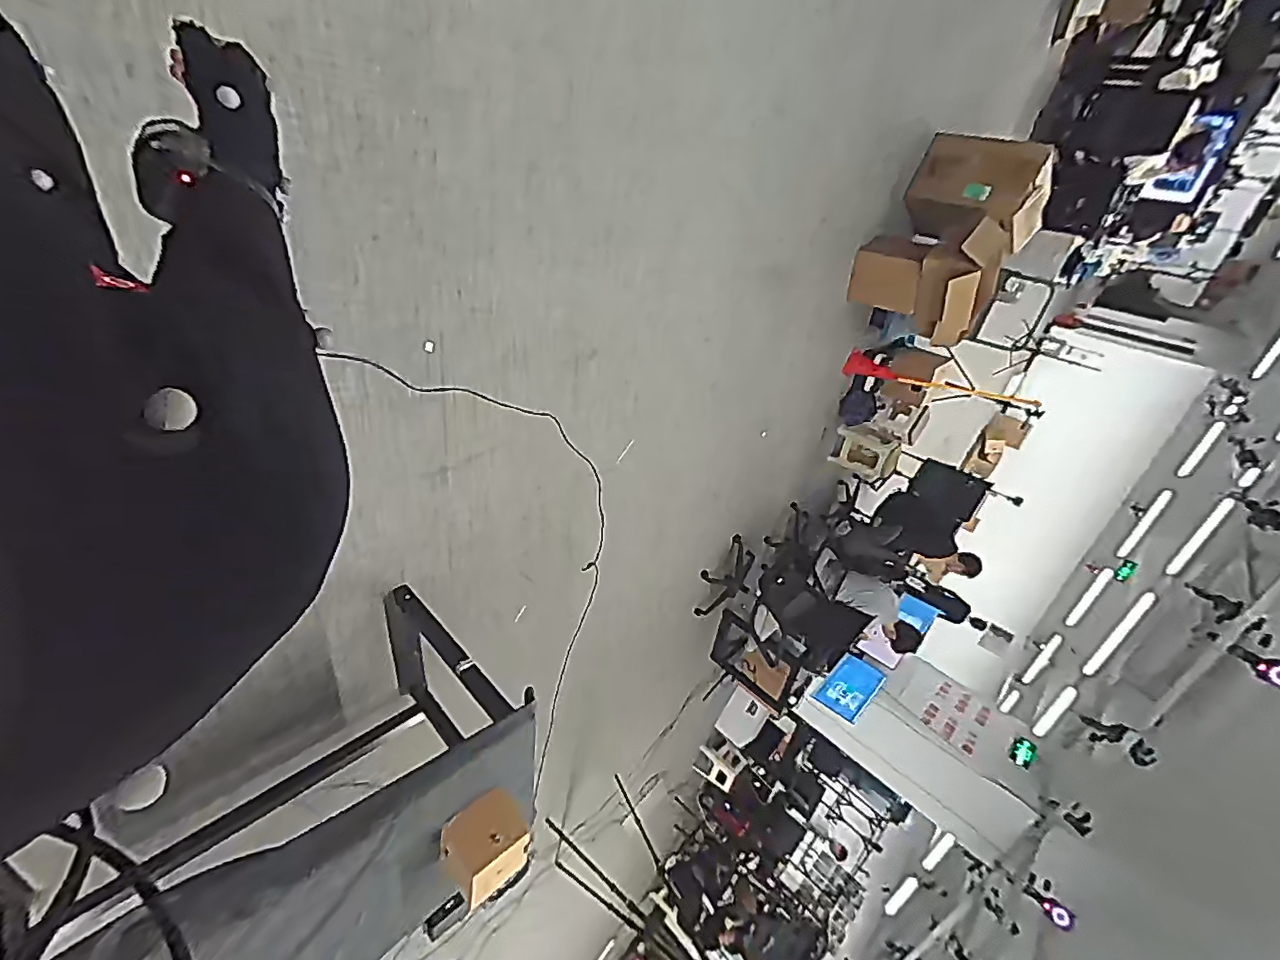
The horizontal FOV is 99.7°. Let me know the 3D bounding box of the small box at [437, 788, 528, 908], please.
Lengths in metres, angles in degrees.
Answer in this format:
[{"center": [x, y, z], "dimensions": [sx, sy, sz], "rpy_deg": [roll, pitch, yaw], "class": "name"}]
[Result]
[{"center": [-0.429, 0.988, 1.470], "dimensions": [0.179, 0.176, 0.168], "rpy_deg": [-18, 129, -43], "class": "small box"}]
